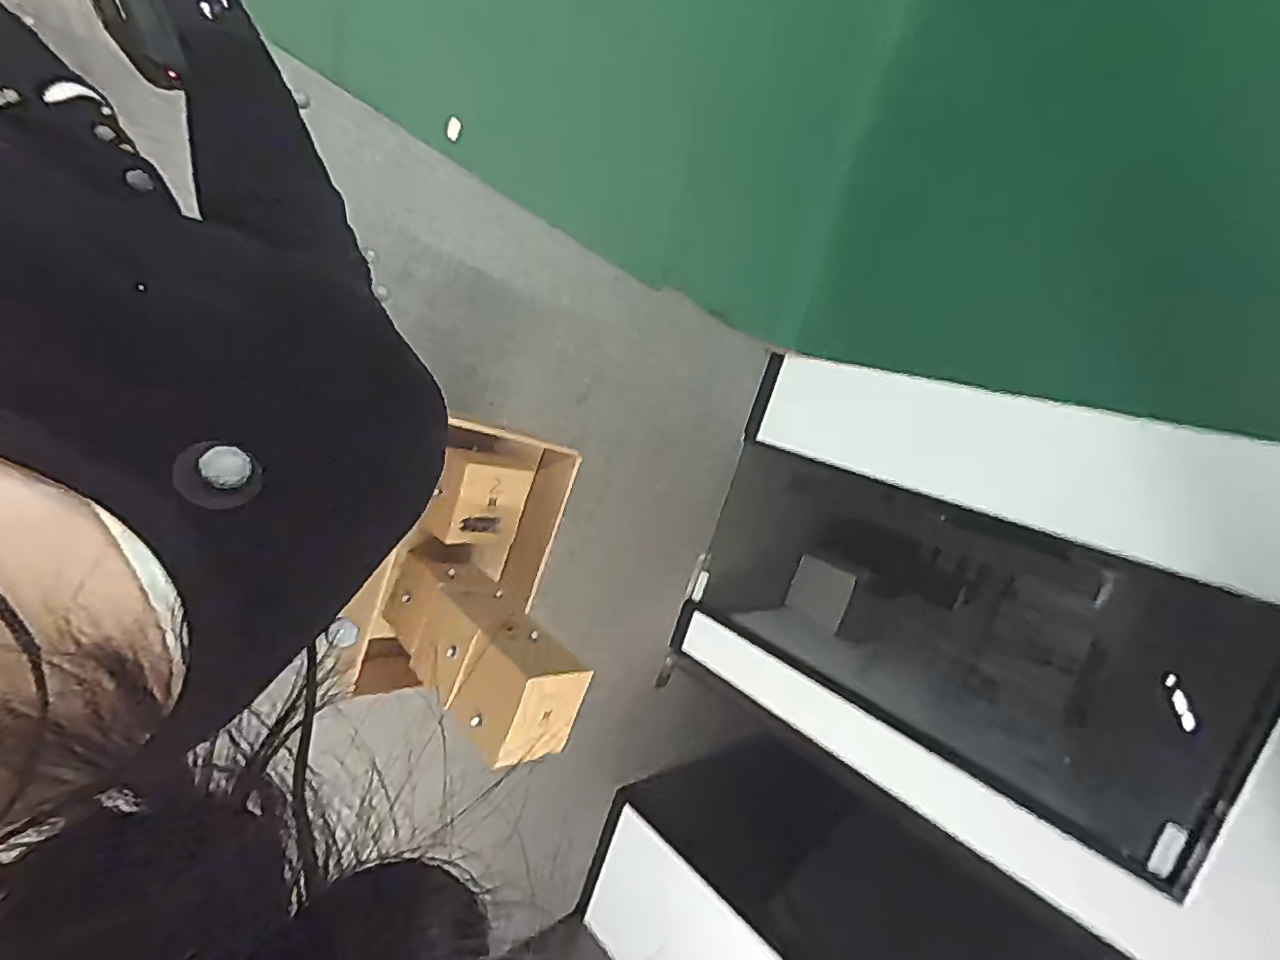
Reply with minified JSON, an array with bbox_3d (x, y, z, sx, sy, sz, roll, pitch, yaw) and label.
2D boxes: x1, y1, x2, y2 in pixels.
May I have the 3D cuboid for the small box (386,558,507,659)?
[{"bbox_3d":[-0.443,0.290,1.226,0.179,0.176,0.168,22,92,-49],"label":"small box"}]

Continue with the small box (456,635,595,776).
[{"bbox_3d":[-0.221,0.412,1.018,0.168,0.176,0.179,19,94,-49],"label":"small box"}]

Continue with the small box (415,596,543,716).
[{"bbox_3d":[-0.336,0.354,1.118,0.168,0.176,0.179,19,94,-49],"label":"small box"}]
